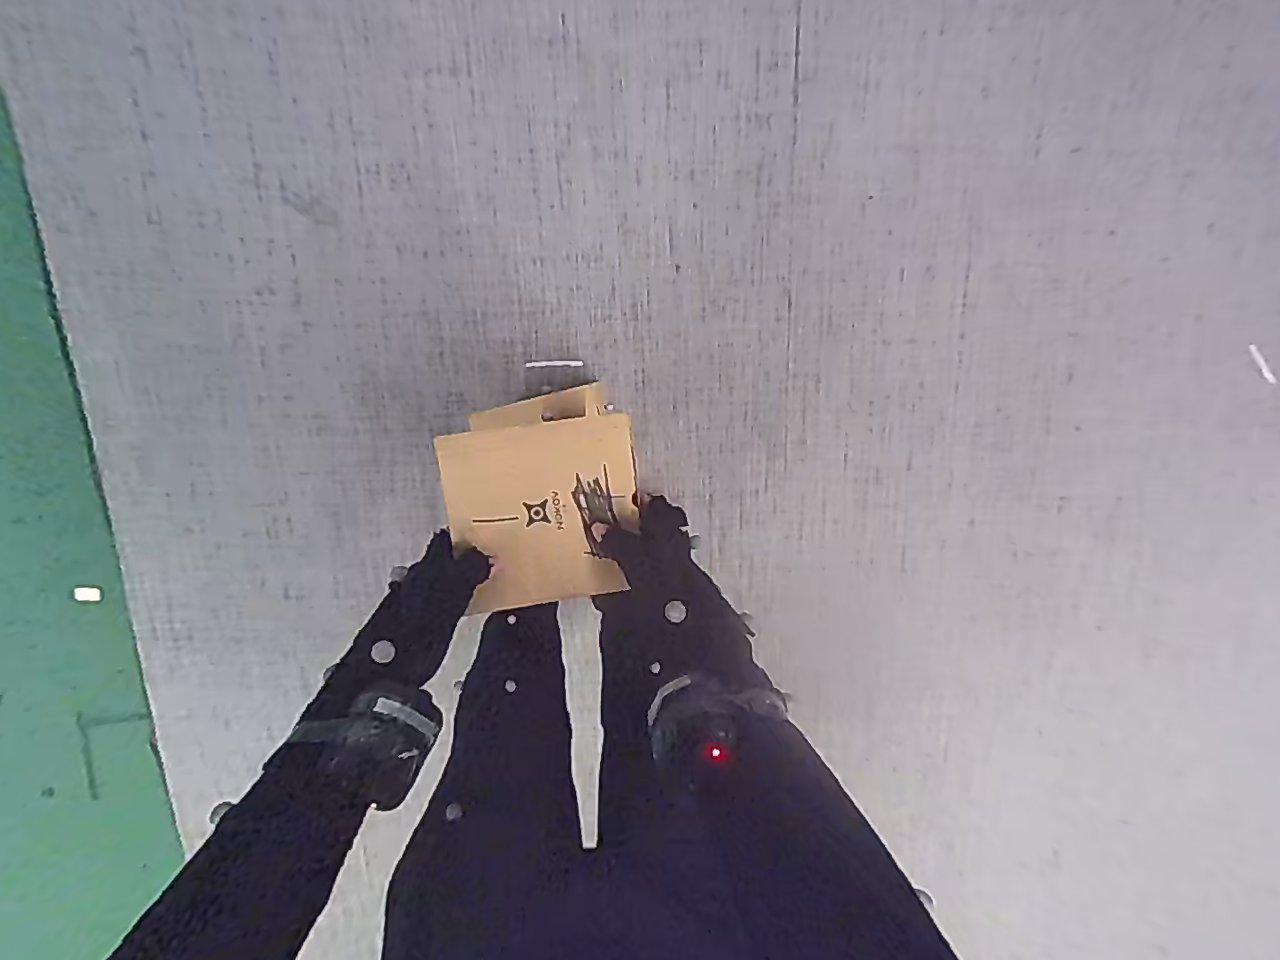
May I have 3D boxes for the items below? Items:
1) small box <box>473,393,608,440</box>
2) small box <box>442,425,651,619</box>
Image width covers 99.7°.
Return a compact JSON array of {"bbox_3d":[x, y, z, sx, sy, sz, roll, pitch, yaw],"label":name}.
[{"bbox_3d":[-0.127,-0.031,0.825,0.179,0.176,0.168,-17,102,2],"label":"small box"},{"bbox_3d":[-0.093,0.032,0.576,0.179,0.176,0.168,-8,94,-6],"label":"small box"}]
